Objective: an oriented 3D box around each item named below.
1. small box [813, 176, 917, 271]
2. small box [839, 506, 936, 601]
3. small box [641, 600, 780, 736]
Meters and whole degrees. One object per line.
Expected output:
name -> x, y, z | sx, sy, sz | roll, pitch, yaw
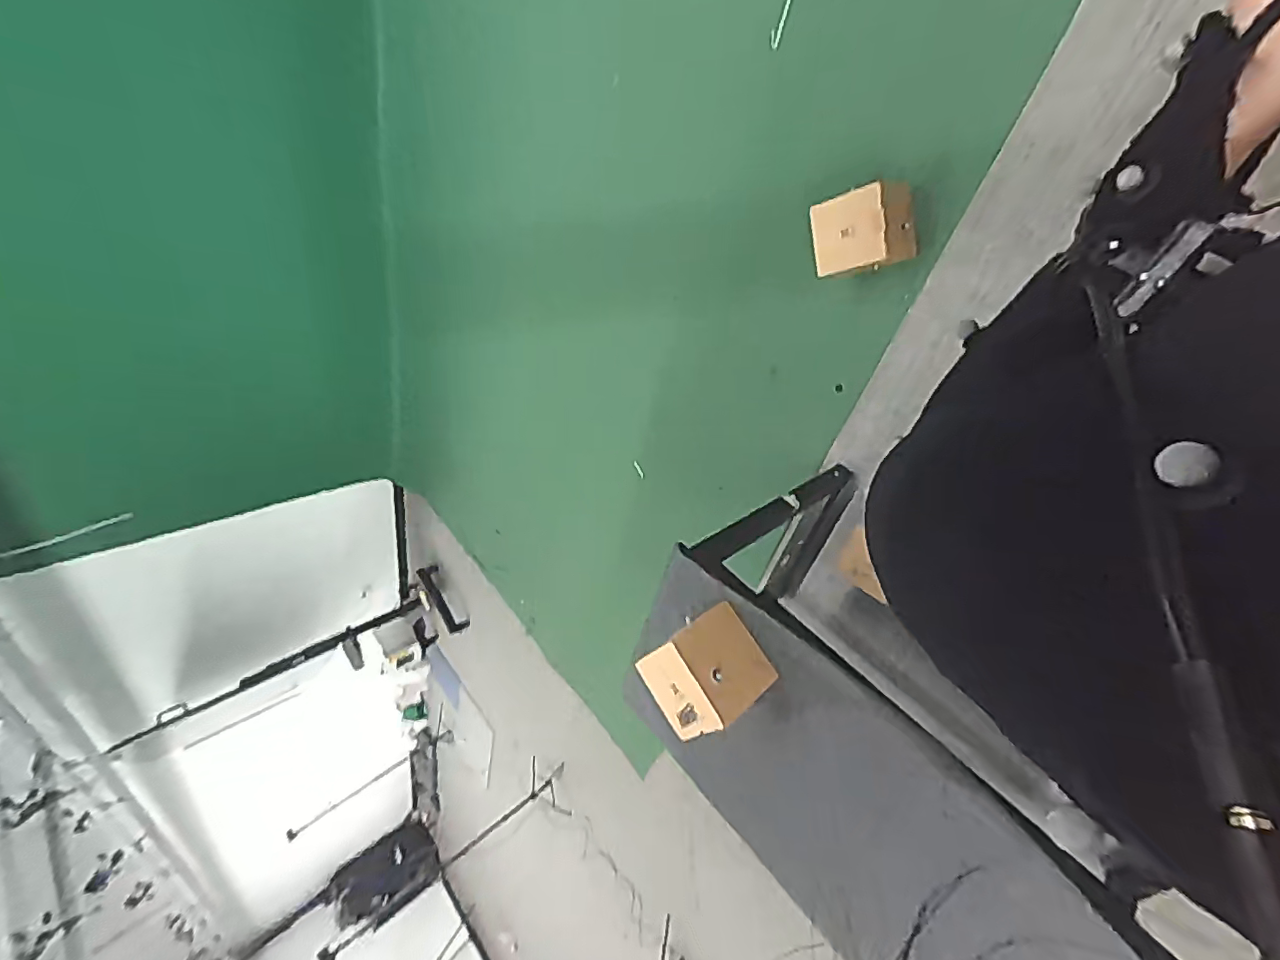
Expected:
small box -> 0.551, -0.617, 1.322 | 0.179, 0.176, 0.168 | 1, 107, 47
small box -> 0.697, 0.197, 1.516 | 0.168, 0.176, 0.179 | 37, 131, 33
small box -> 0.140, 0.369, 1.069 | 0.179, 0.176, 0.168 | 55, 140, 13
